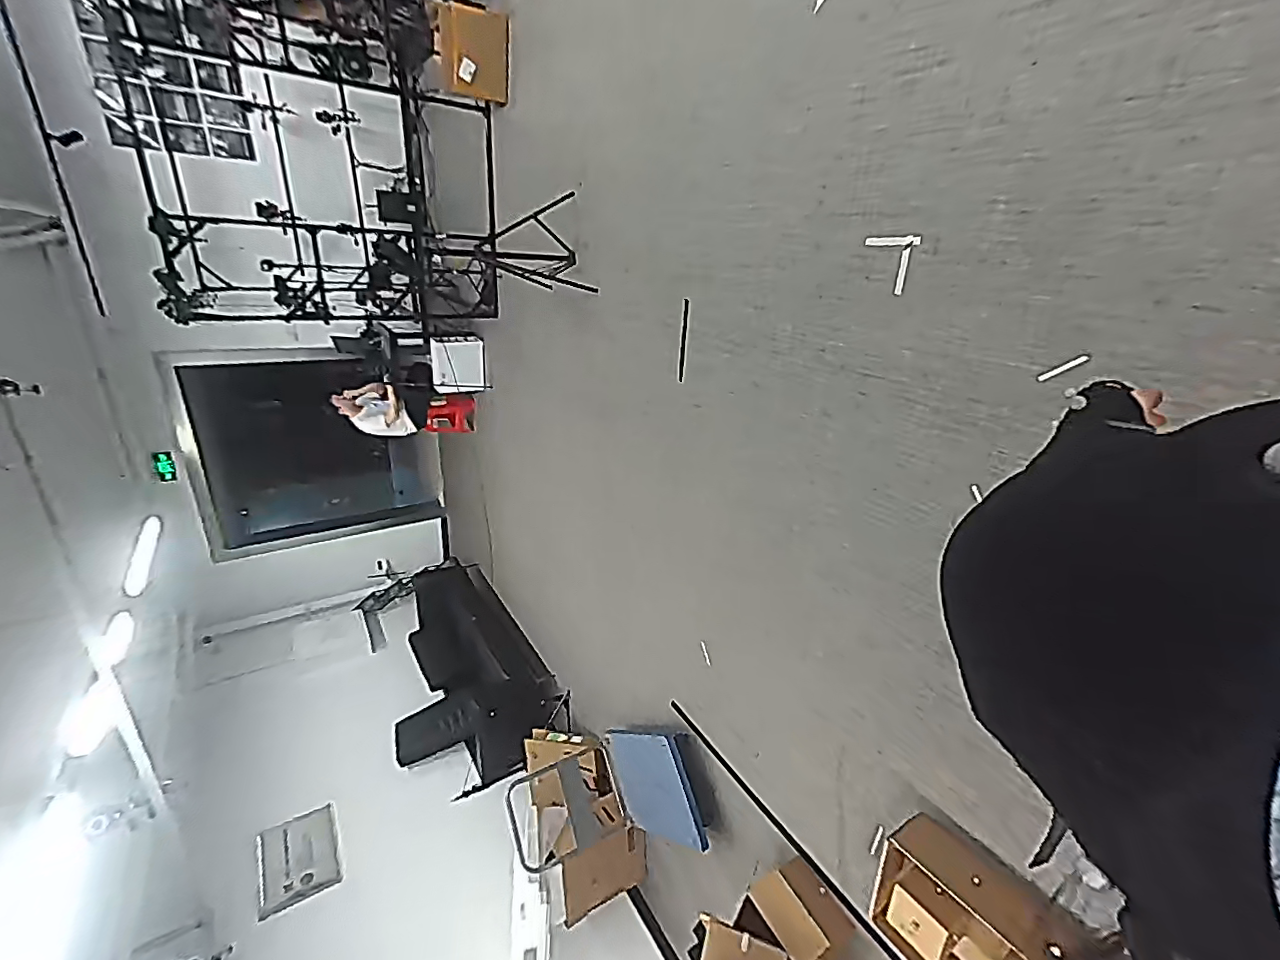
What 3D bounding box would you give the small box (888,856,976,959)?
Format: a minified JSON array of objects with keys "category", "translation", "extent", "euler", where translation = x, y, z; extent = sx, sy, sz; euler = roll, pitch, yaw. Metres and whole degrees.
[{"category":"small box","translation":[0.908,1.326,1.678],"extent":[0.168,0.176,0.179],"euler":[30,125,51]}]
